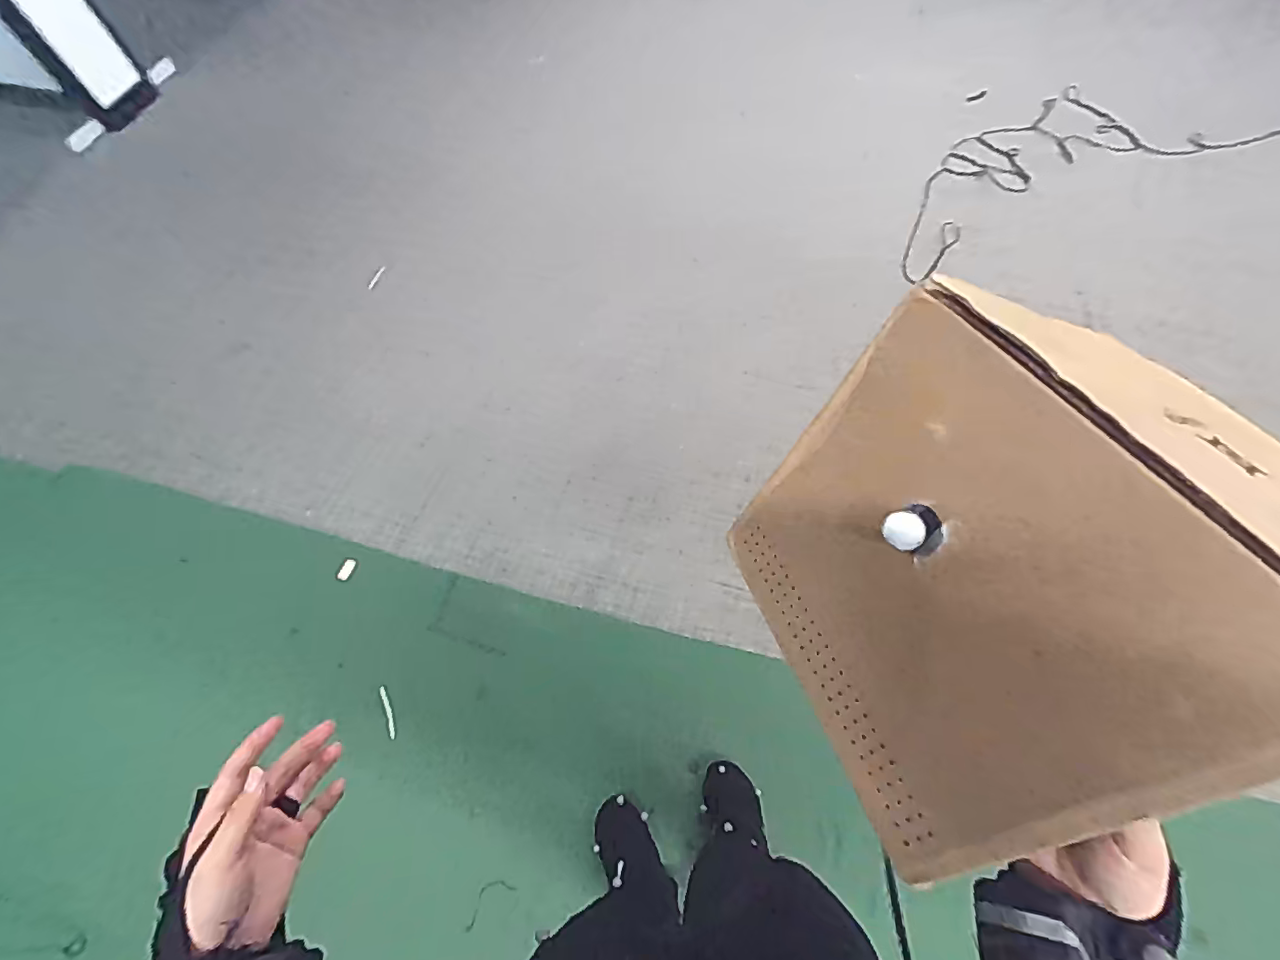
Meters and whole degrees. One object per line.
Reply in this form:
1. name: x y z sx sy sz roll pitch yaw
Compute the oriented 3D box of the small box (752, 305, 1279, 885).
1. small box: 0.183 0.048 0.255 0.168 0.176 0.179 0 47 -29
